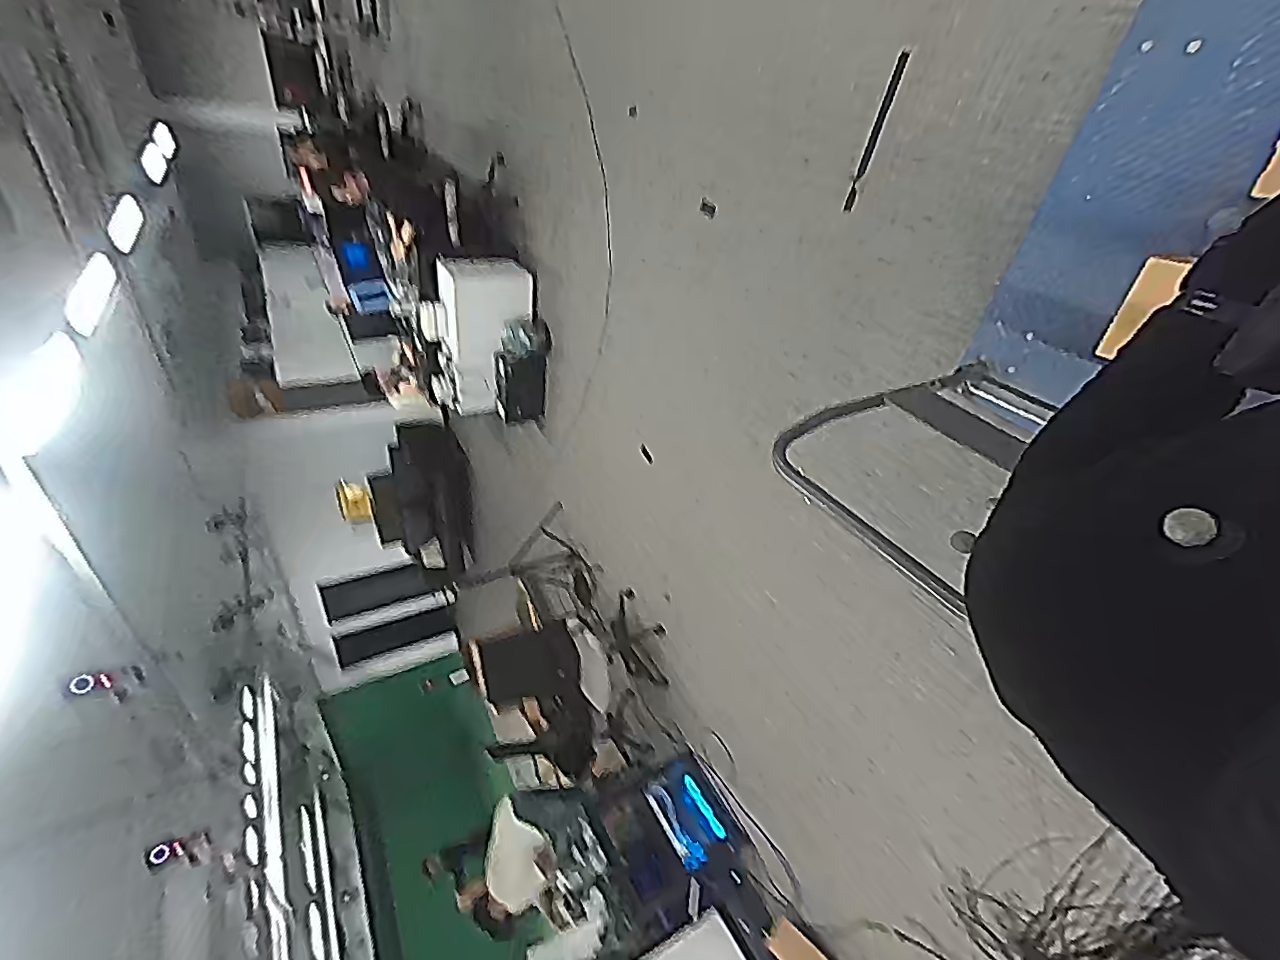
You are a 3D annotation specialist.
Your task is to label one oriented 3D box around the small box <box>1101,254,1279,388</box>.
[{"bbox_3d":[0.925,-0.264,0.882,0.179,0.176,0.168,43,137,44],"label":"small box"}]
